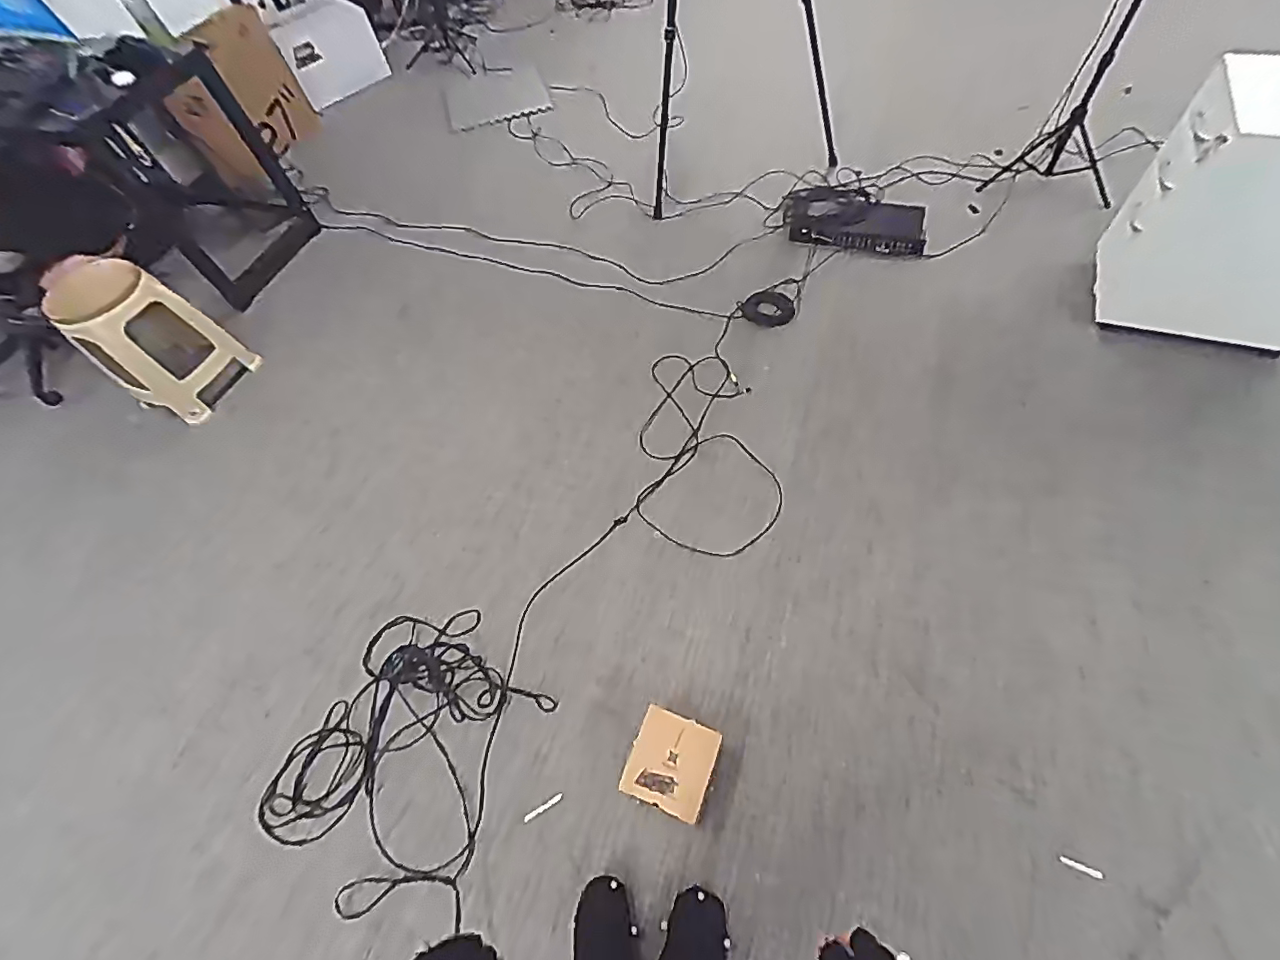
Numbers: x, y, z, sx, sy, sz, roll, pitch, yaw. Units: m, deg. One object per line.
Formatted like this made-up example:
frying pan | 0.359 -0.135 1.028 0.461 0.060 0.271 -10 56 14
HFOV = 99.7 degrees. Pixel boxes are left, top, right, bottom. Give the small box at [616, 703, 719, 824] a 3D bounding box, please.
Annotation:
small box | 0.068 0.611 1.164 0.168 0.176 0.179 17 62 17
